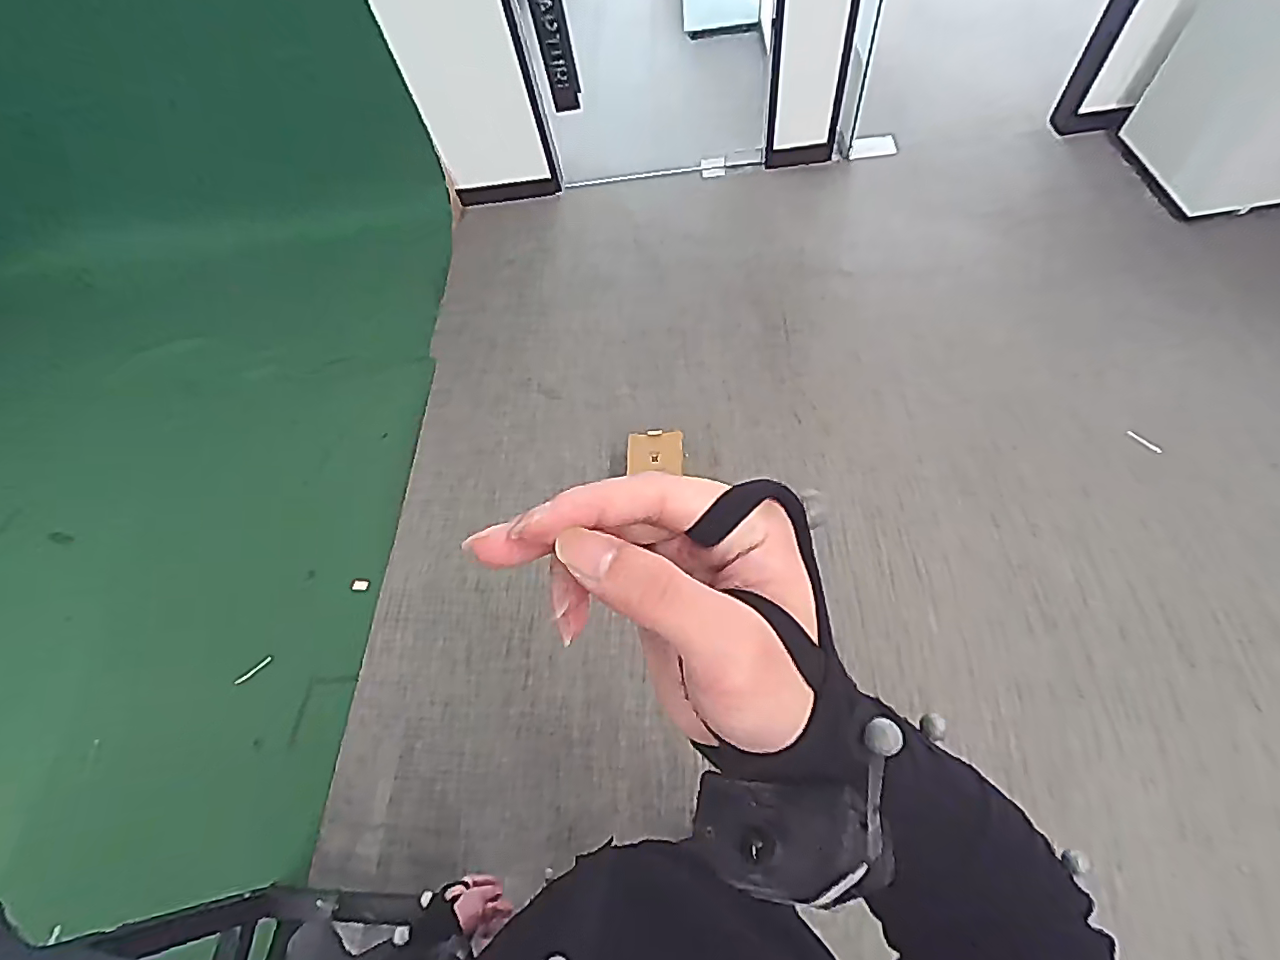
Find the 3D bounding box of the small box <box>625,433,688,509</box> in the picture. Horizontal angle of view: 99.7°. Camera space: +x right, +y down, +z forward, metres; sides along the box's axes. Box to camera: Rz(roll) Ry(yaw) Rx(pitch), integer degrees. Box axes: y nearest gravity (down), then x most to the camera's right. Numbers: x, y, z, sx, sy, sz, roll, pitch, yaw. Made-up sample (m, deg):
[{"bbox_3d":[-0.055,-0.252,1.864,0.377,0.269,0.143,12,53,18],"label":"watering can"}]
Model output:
[{"bbox_3d":[0.056,-0.026,1.638,0.168,0.176,0.179,-2,62,10],"label":"small box"}]
